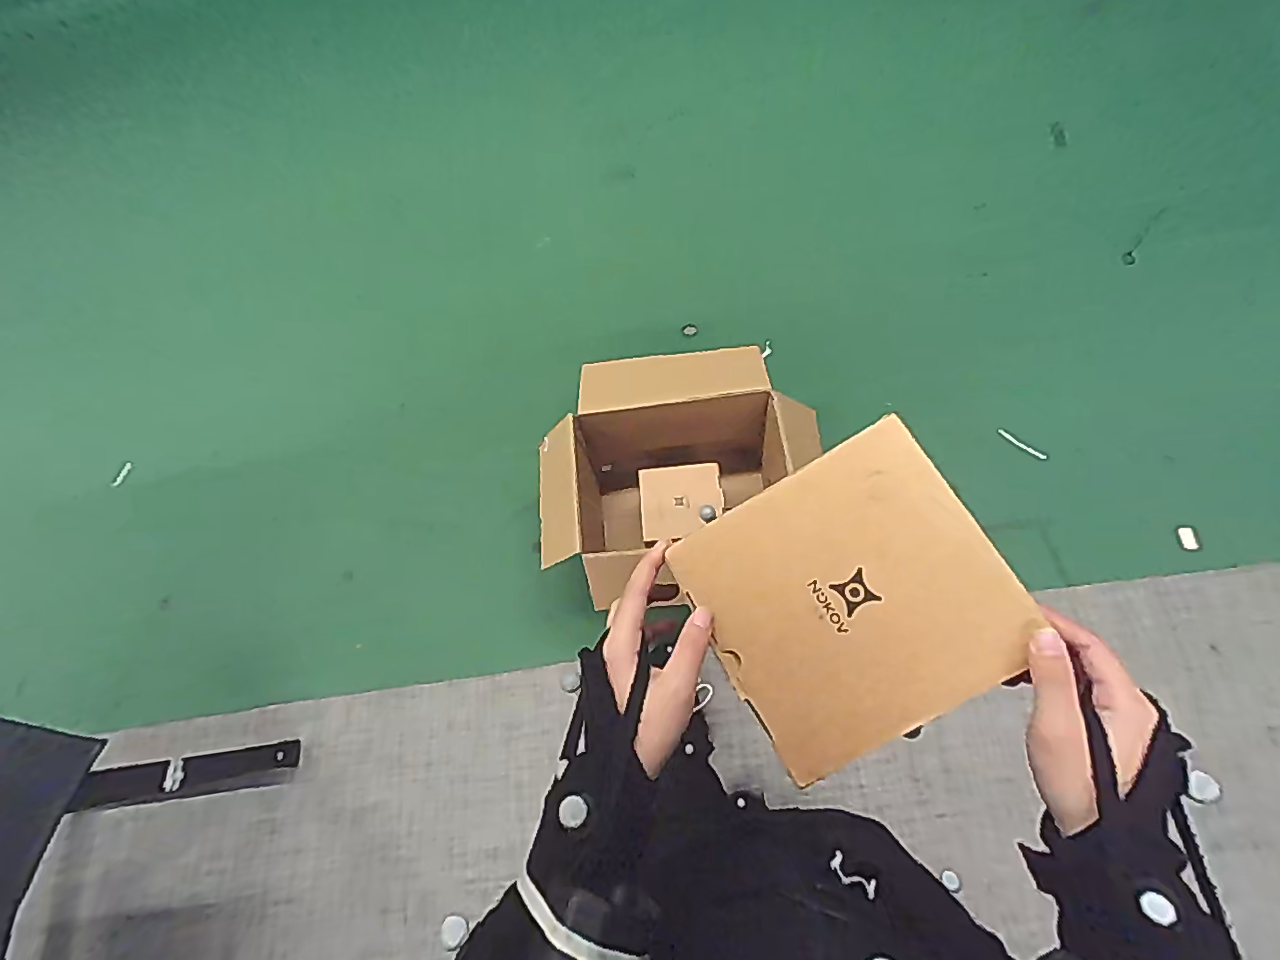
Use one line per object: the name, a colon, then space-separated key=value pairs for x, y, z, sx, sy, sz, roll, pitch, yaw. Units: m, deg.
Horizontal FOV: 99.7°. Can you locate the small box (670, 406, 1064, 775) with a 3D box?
small box: x=0.144 y=0.073 z=0.407 sx=0.179 sy=0.176 sz=0.168 roll=-32 pitch=78 yaw=6
